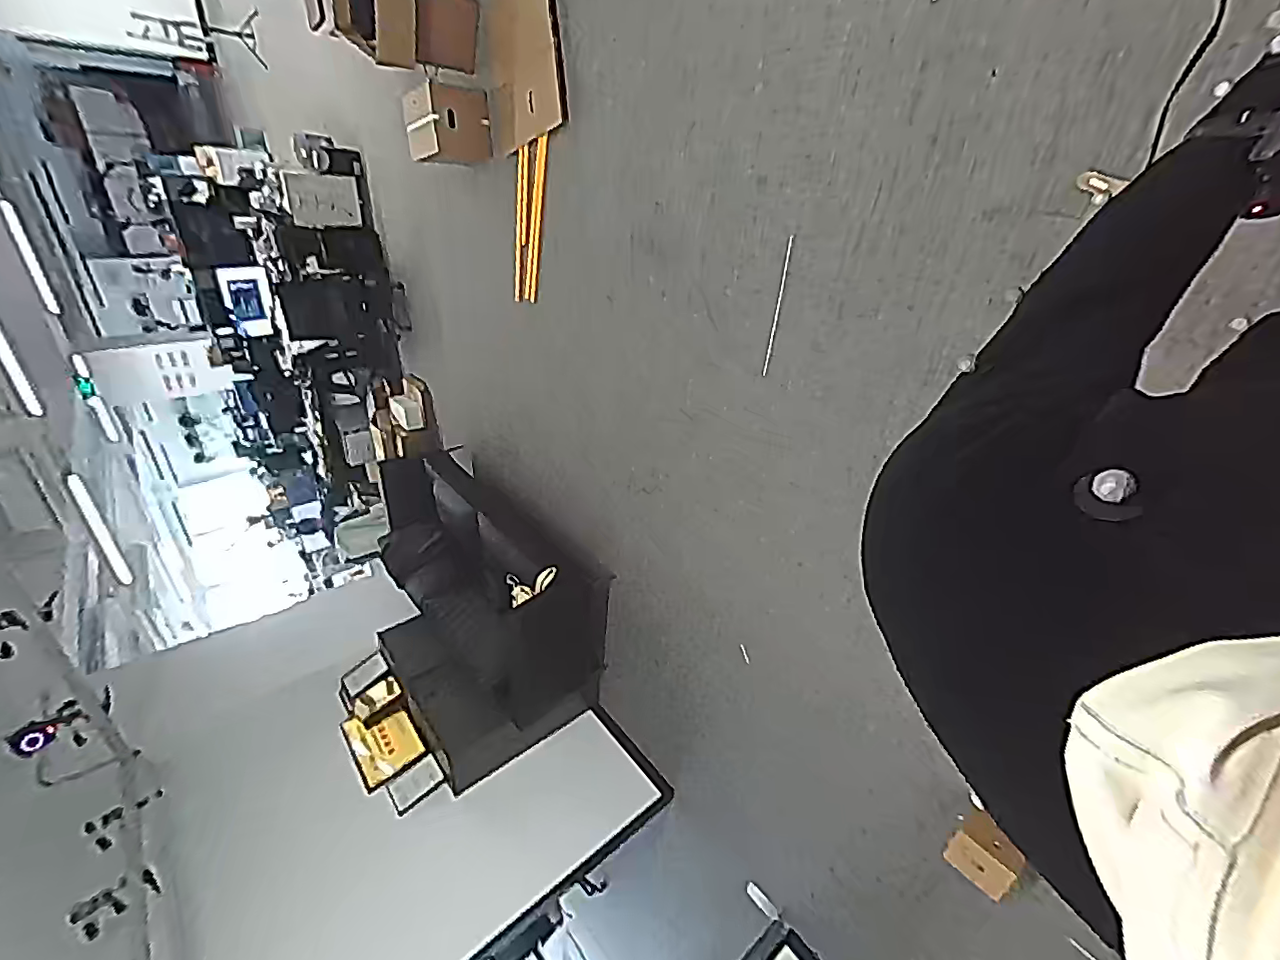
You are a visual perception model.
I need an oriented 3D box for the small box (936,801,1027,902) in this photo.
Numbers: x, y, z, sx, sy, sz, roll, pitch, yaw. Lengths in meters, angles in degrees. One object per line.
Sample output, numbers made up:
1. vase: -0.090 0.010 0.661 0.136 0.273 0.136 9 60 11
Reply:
1. small box: 1.109 1.197 1.754 0.179 0.176 0.168 34 130 39
